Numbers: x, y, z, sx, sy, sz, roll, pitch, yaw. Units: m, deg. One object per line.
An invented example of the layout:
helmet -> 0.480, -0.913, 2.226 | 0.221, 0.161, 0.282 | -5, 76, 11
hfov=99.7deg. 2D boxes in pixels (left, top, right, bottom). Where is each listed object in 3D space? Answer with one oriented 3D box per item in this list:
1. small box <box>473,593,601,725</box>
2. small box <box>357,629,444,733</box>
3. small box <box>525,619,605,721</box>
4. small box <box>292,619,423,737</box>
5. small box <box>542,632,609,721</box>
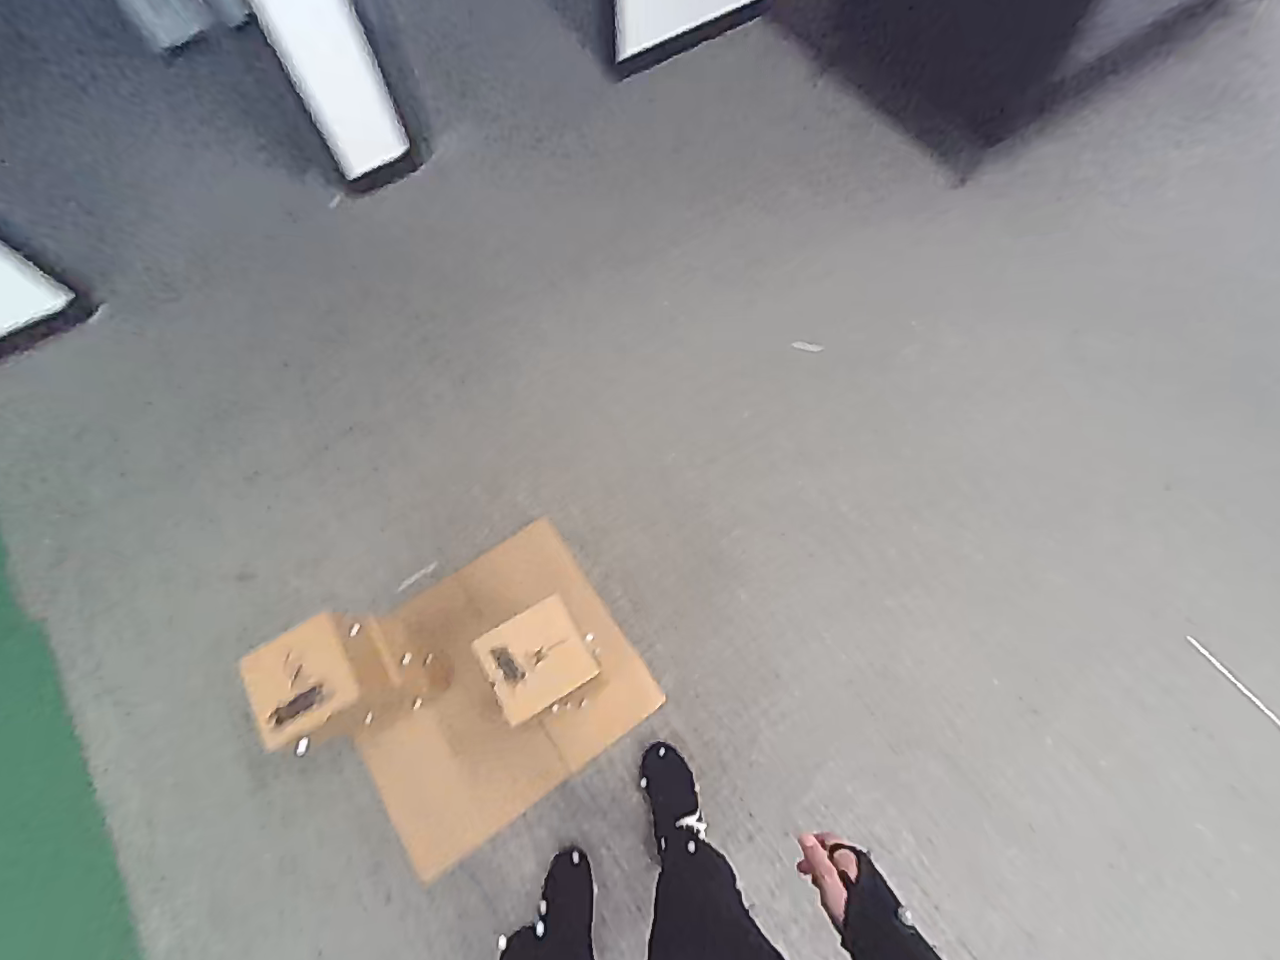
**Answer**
small box -> -0.187, 0.342, 1.032 | 0.179, 0.176, 0.168 | -29, 73, -12
small box -> -0.602, 0.487, 1.319 | 0.179, 0.176, 0.168 | -32, 72, -12
small box -> -0.189, 0.405, 1.183 | 0.179, 0.176, 0.168 | -28, 72, -11
small box -> -0.595, 0.425, 1.170 | 0.179, 0.176, 0.168 | -32, 72, -12
small box -> -0.189, 0.468, 1.334 | 0.179, 0.176, 0.168 | -30, 71, -12
